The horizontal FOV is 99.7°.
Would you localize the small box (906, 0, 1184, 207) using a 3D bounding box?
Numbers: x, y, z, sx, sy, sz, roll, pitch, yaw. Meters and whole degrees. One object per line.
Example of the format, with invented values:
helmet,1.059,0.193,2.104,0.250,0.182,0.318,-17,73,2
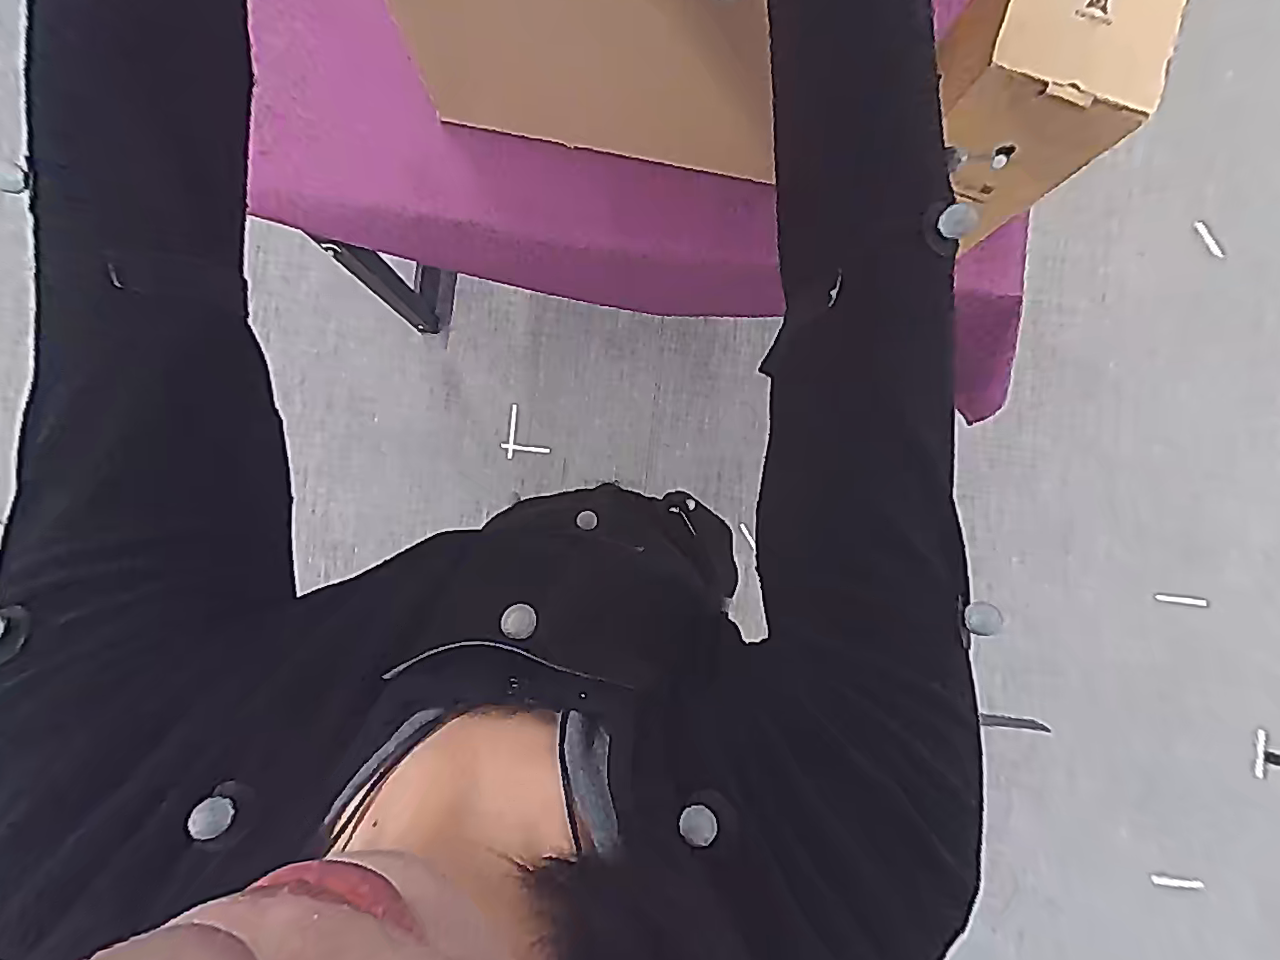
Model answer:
small box,0.425,-0.441,0.593,0.168,0.176,0.179,19,87,-2
